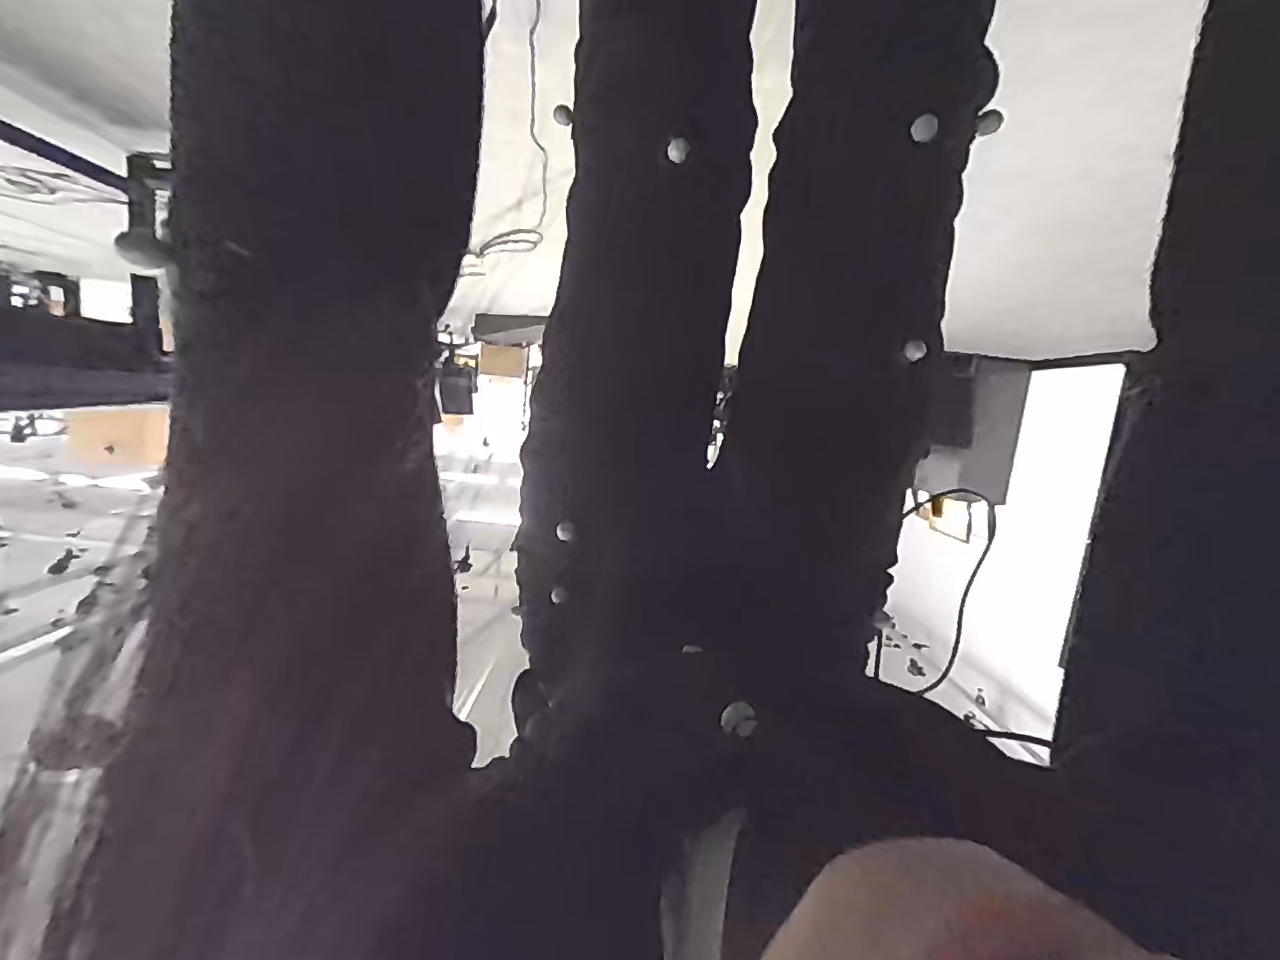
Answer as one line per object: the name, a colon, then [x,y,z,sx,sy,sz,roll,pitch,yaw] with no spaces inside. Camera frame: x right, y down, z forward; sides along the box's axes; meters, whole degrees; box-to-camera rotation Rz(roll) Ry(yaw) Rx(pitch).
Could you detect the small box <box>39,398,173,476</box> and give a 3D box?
small box: [-1.278,-0.107,1.306,0.179,0.176,0.168,5,-173,-6]
